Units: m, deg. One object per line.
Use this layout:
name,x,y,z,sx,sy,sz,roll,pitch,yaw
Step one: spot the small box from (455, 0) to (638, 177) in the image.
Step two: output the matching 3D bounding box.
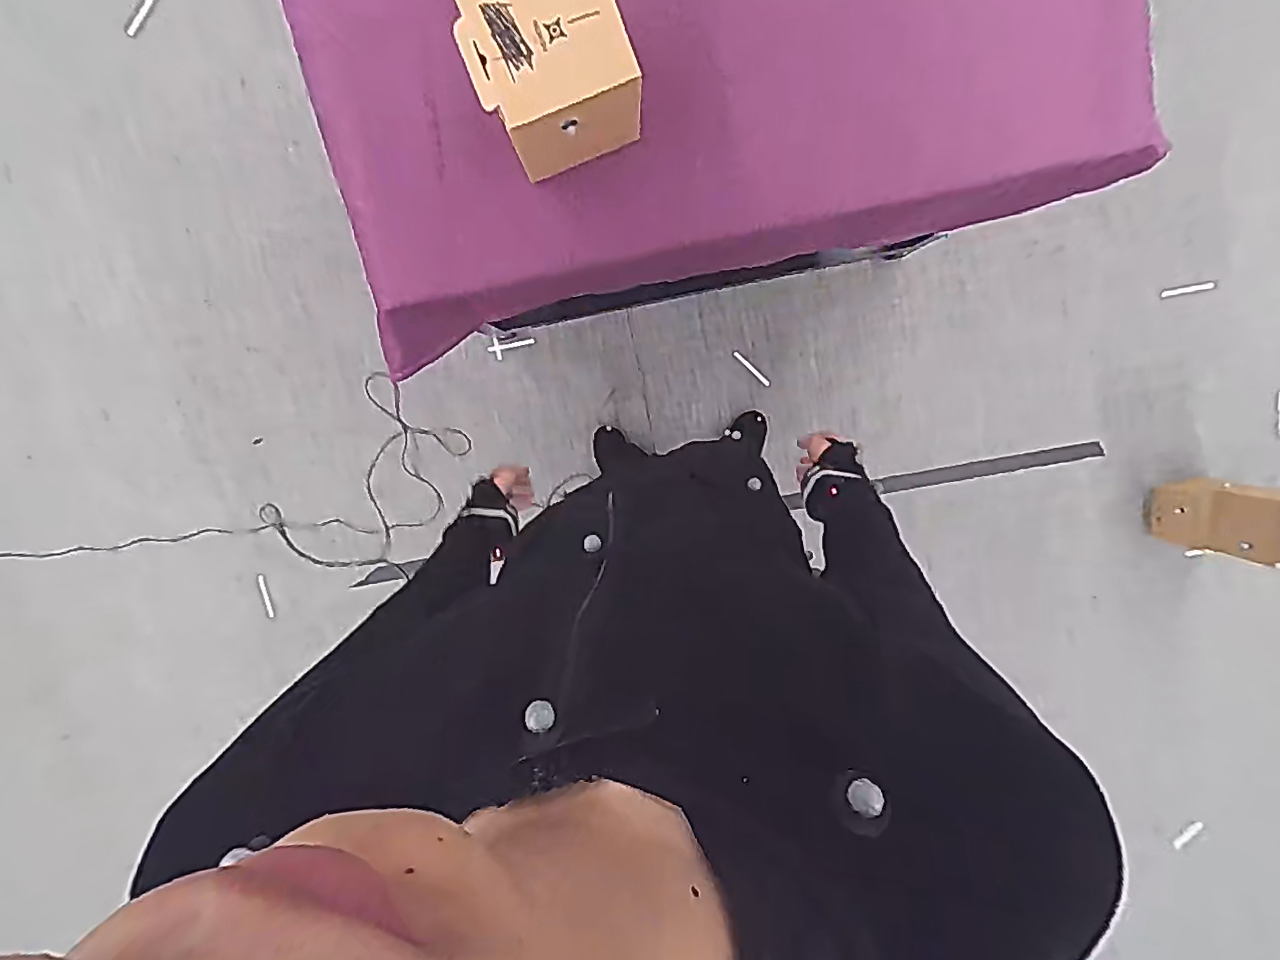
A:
small box,-0.111,-0.538,0.715,0.179,0.176,0.168,-21,99,2

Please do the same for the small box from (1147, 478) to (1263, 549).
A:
small box,1.646,0.094,1.585,0.179,0.176,0.168,-7,99,0

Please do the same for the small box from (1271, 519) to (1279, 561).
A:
small box,1.662,0.133,1.258,0.179,0.176,0.168,0,100,-1
